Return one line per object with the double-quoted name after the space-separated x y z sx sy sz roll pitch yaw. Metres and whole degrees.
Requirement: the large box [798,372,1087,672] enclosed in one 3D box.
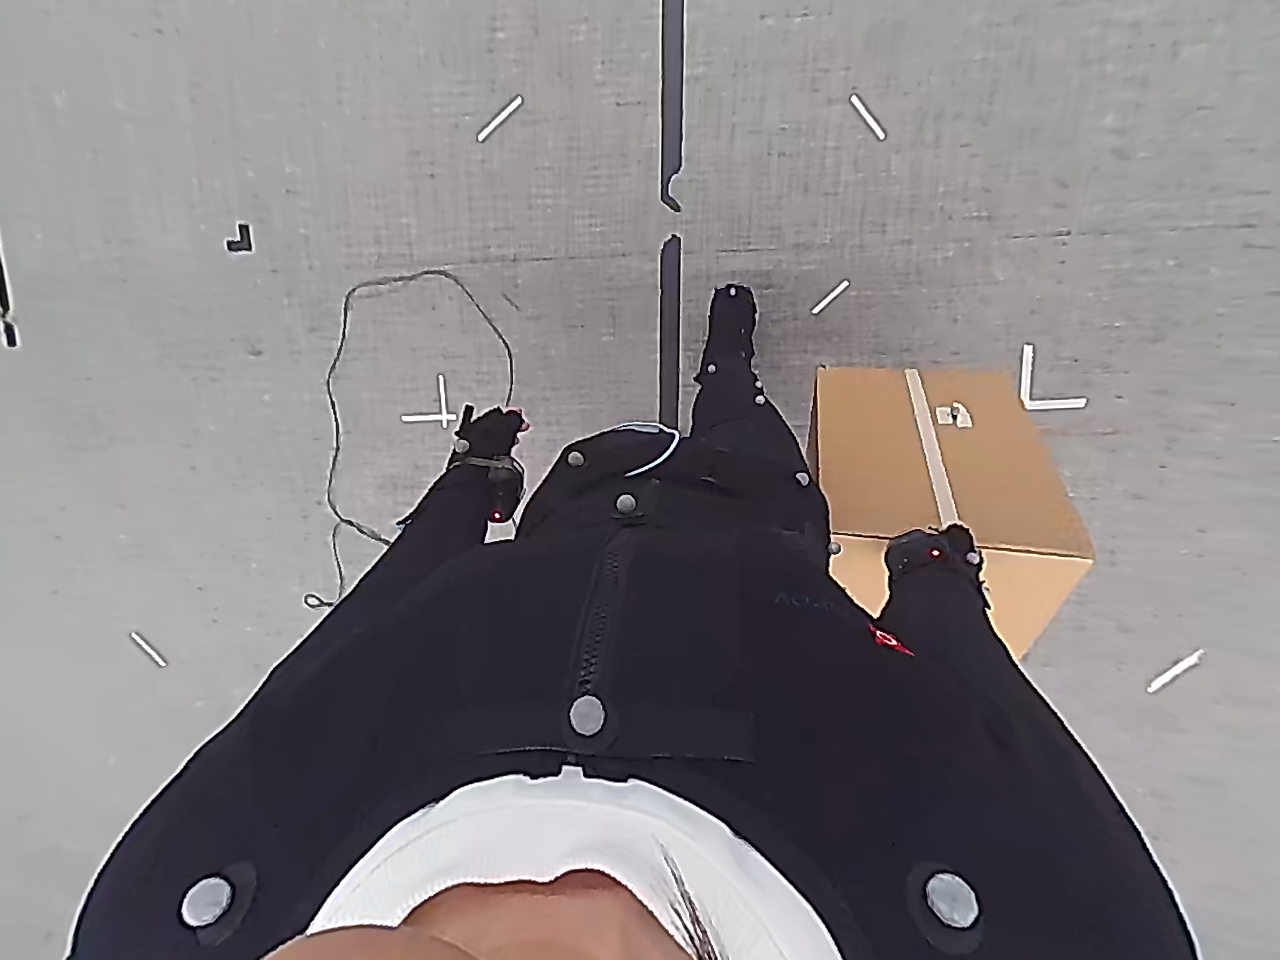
0.444 0.057 0.921 0.320 0.408 0.320 5 132 11 "large box"
